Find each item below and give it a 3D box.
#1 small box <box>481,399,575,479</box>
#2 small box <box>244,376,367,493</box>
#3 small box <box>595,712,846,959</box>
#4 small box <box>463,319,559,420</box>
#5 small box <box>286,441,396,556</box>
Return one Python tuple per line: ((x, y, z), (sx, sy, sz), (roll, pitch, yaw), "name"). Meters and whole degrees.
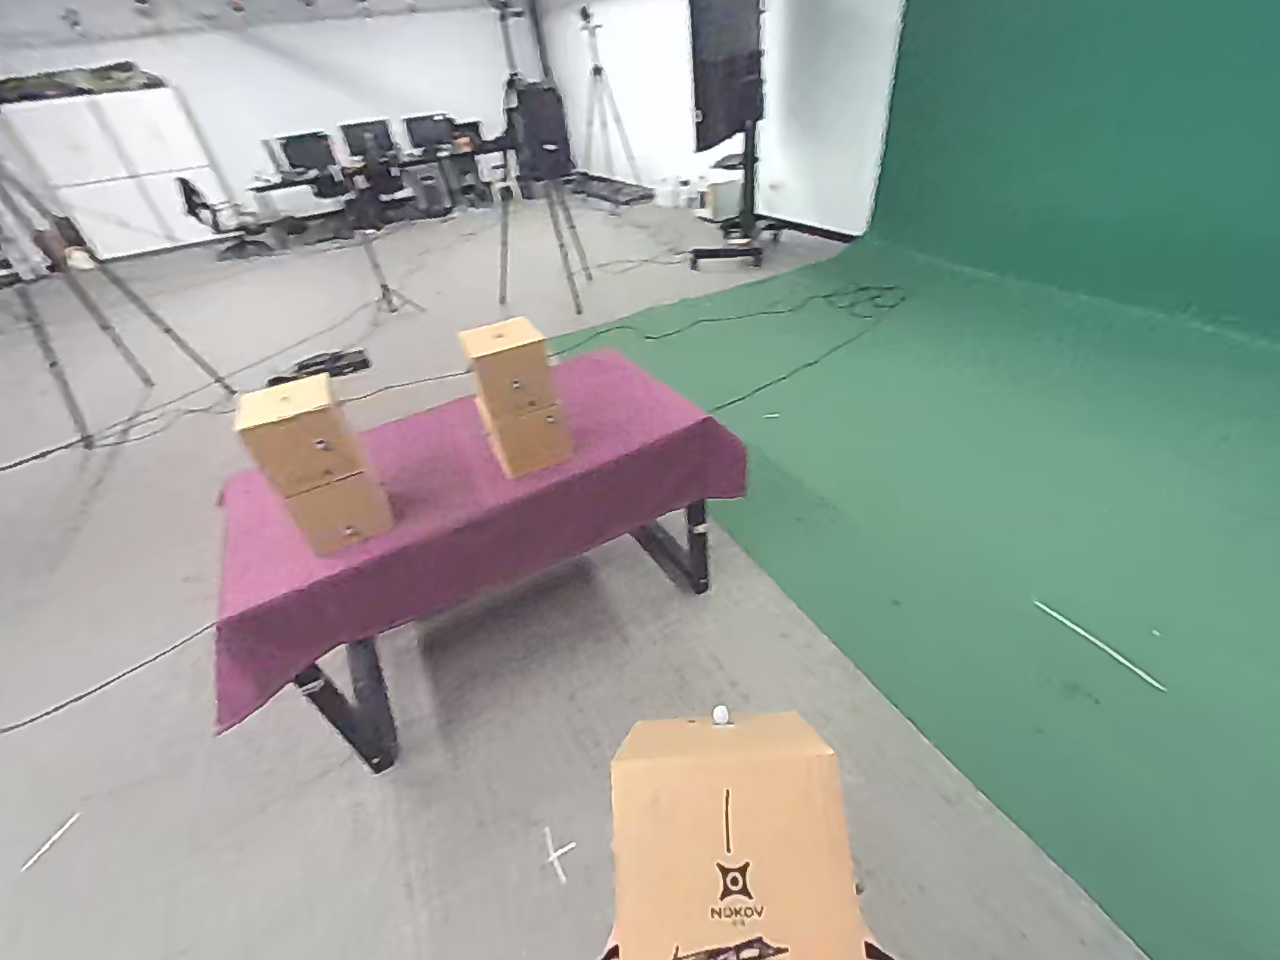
((-0.285, -0.128, 1.388), (0.179, 0.176, 0.168), (-22, 39, -18), "small box")
((-0.696, -0.091, 1.143), (0.168, 0.176, 0.179), (-21, 38, -17), "small box")
((0.062, 0.303, 0.449), (0.168, 0.176, 0.179), (-6, 74, 5), "small box")
((-0.306, -0.260, 1.293), (0.168, 0.176, 0.179), (-20, 39, -16), "small box")
((-0.677, 0.041, 1.238), (0.179, 0.176, 0.168), (-22, 39, -19), "small box")
